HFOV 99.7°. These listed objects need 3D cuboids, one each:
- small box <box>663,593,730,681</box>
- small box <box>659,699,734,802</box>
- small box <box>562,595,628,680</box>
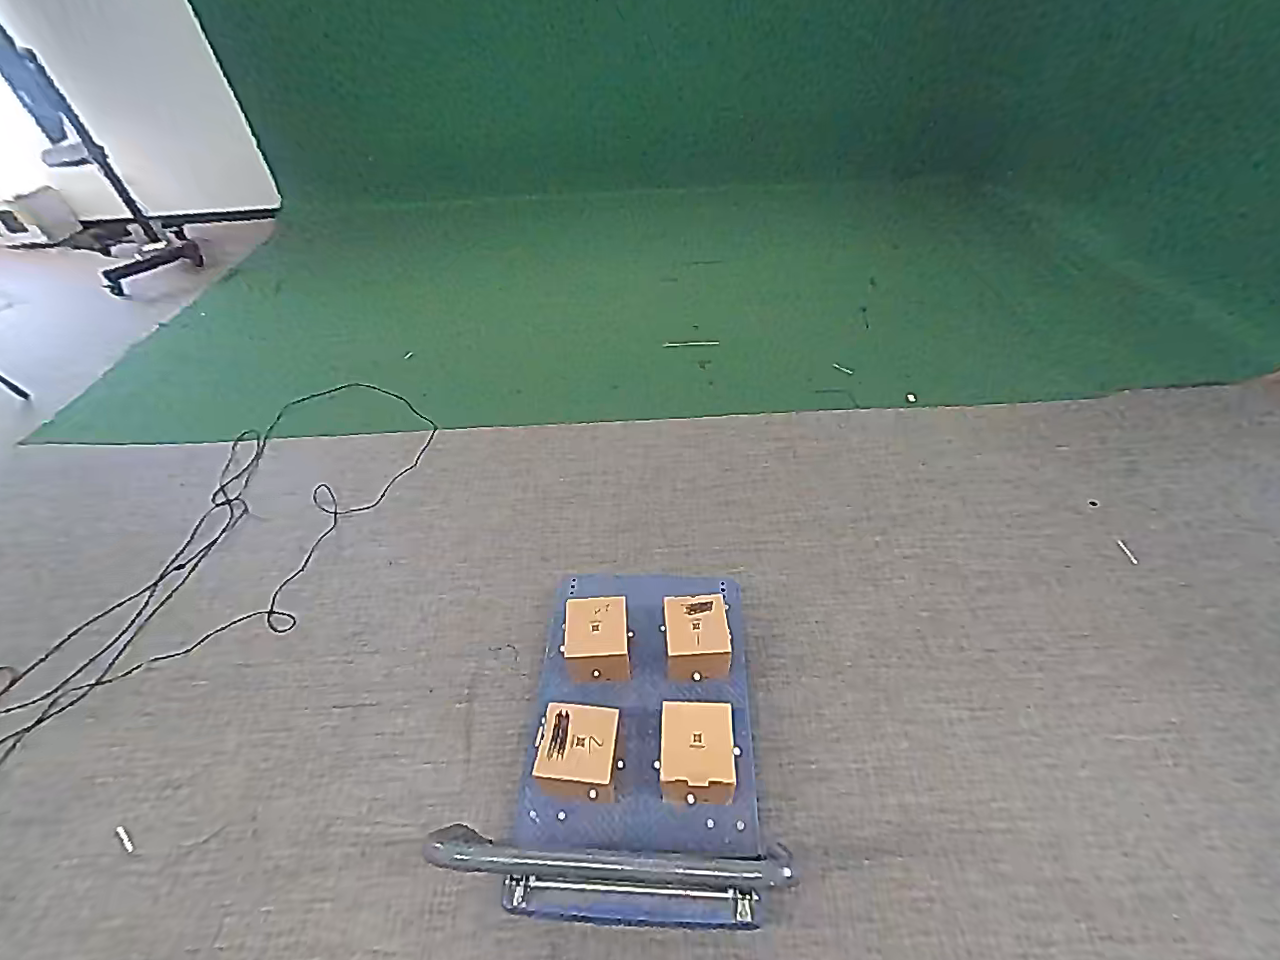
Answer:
[{"bbox_3d":[0.150,0.436,1.500,0.168,0.176,0.179,-3,46,0],"label":"small box"},{"bbox_3d":[0.131,0.648,1.295,0.168,0.176,0.179,1,46,3],"label":"small box"},{"bbox_3d":[-0.119,0.444,1.505,0.168,0.176,0.179,-3,45,-1],"label":"small box"}]
